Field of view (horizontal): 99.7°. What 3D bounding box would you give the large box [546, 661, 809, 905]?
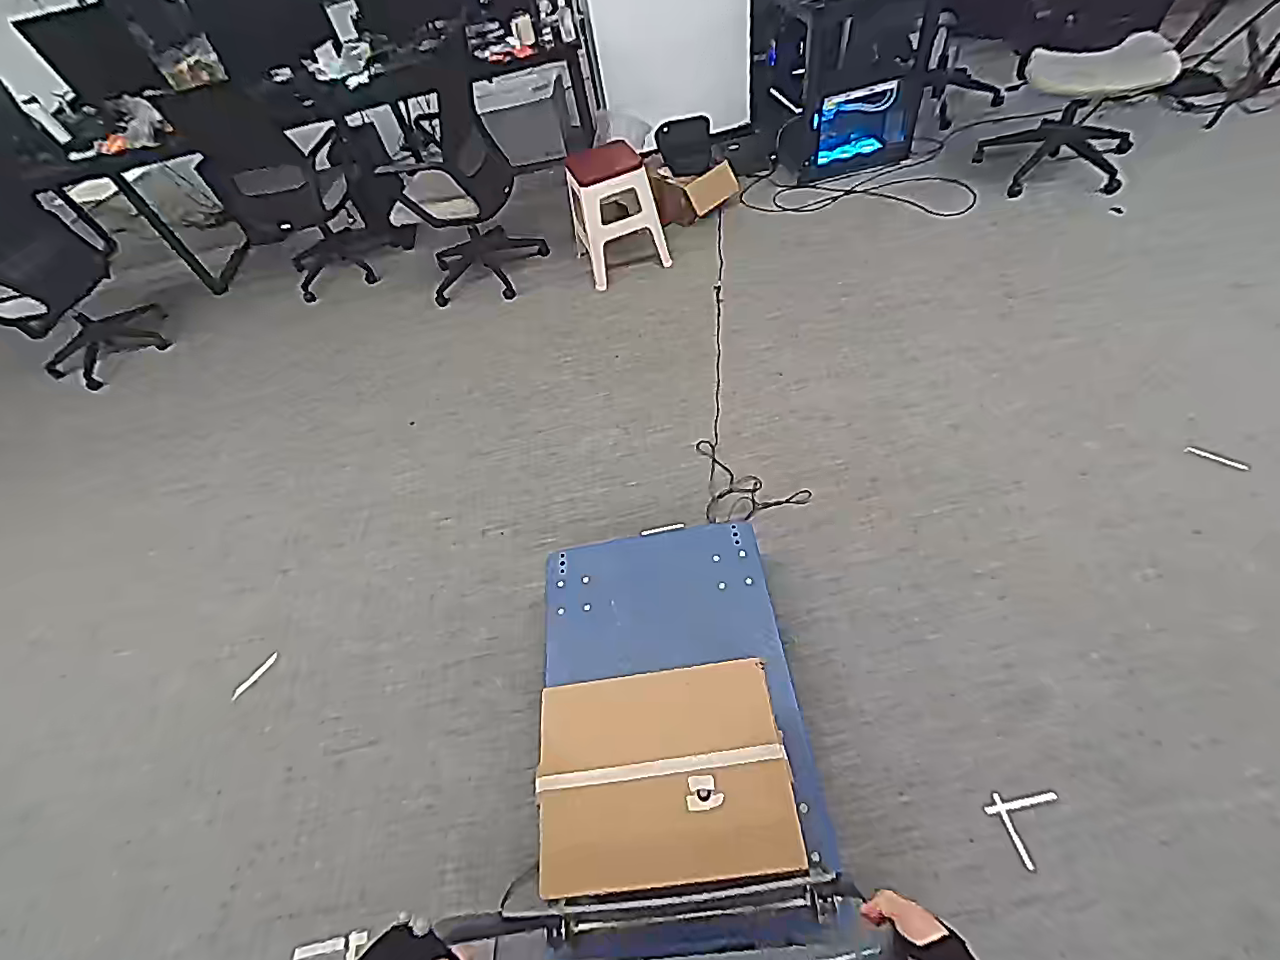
[{"bbox_3d":[0.059,0.569,1.007,0.408,0.320,0.320,-10,53,3],"label":"large box"}]
